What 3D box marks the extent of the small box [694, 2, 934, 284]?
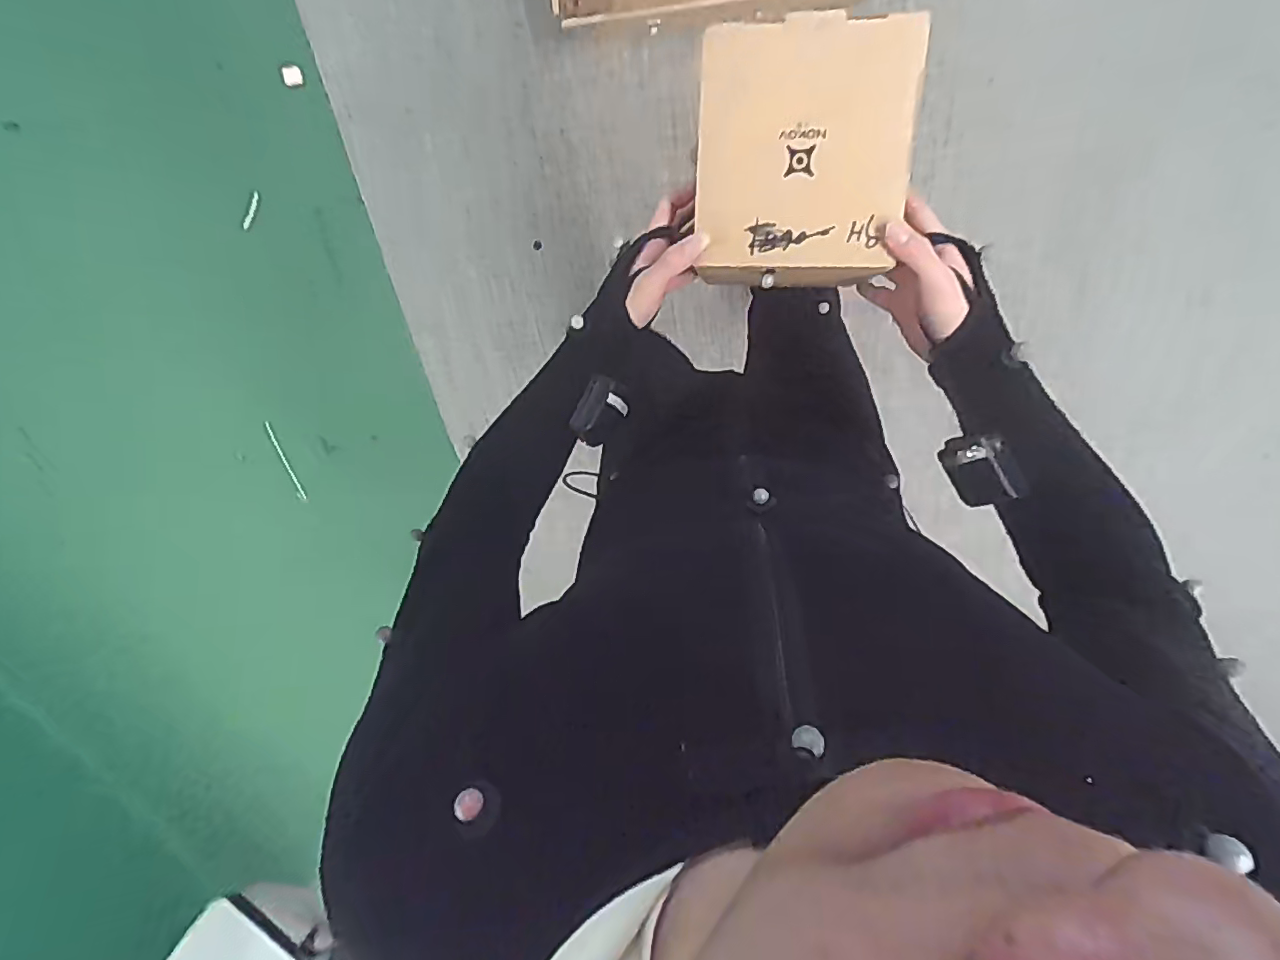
[{"bbox_3d":[0.141,-0.283,0.495,0.168,0.176,0.179,4,105,9],"label":"small box"}]
